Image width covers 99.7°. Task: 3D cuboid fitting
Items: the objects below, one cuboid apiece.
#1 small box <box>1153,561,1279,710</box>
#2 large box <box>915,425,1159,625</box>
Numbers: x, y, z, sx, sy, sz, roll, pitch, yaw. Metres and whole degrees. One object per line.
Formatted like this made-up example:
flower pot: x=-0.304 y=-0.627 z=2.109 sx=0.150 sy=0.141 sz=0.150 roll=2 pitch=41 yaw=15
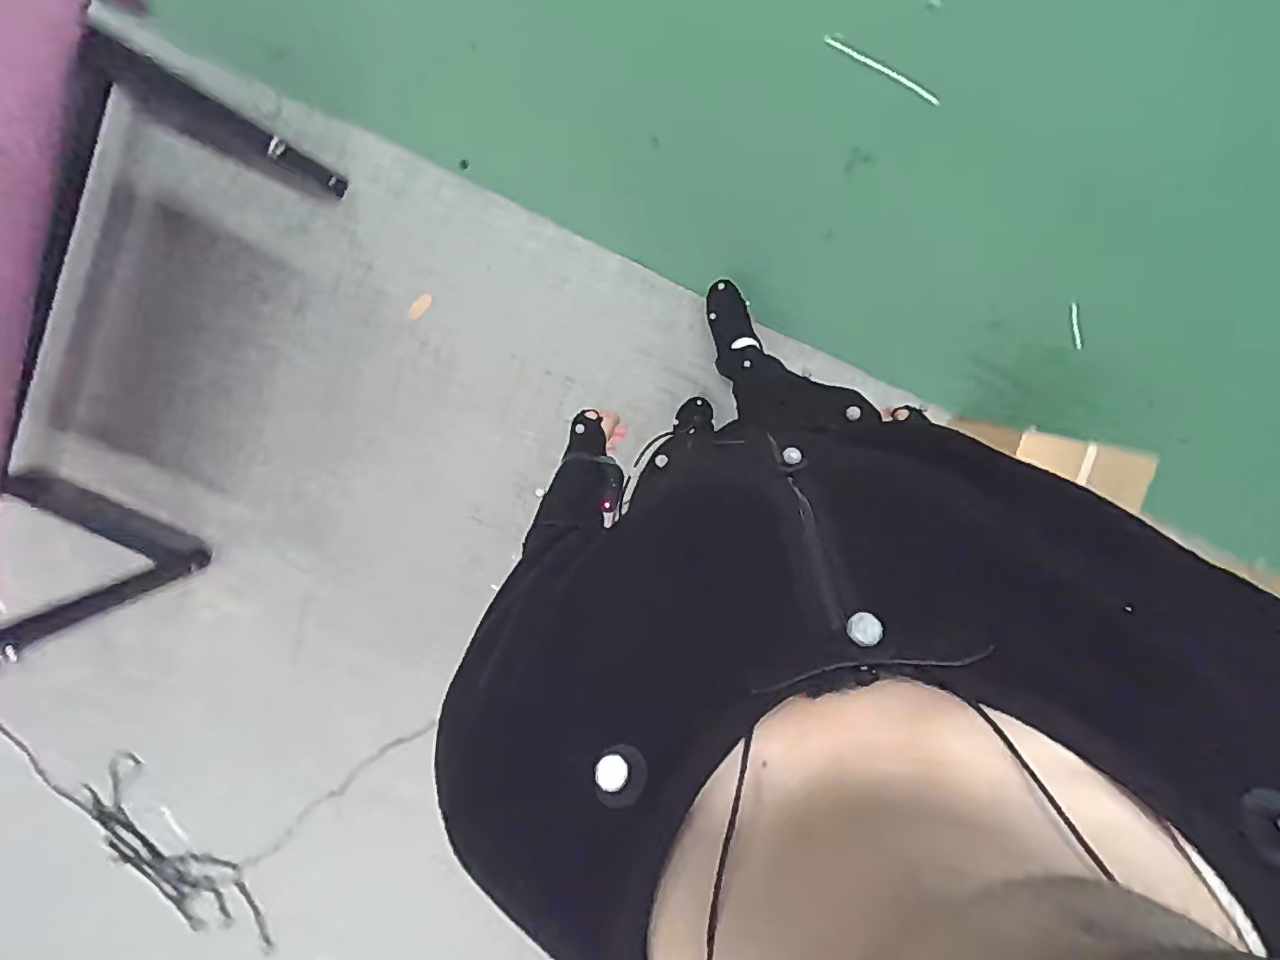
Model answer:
small box: x=0.939 y=0.235 z=0.804 sx=0.179 sy=0.176 sz=0.168 roll=16 pitch=101 yaw=1
large box: x=0.956 y=0.094 z=1.360 sx=0.320 sy=0.320 sz=0.408 roll=11 pitch=100 yaw=-2
